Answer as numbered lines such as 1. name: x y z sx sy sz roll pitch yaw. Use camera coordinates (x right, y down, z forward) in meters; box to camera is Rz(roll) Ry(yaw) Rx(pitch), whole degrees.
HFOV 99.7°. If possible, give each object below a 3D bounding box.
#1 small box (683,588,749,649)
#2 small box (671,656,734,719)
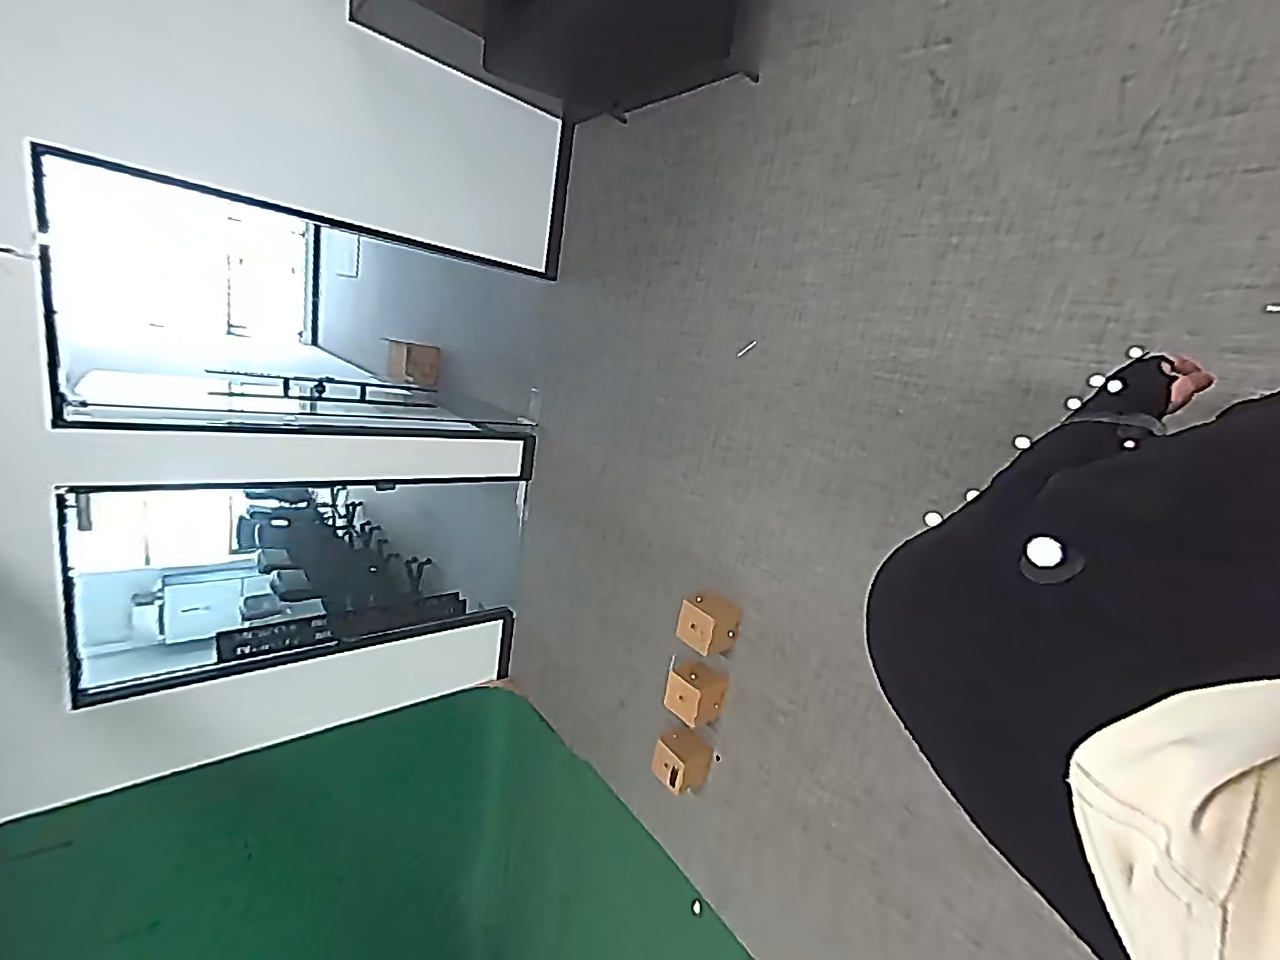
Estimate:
1. small box: 0.304 0.547 2.172 0.179 0.176 0.168 27 112 46
2. small box: 0.259 0.851 2.242 0.179 0.176 0.168 22 108 47
